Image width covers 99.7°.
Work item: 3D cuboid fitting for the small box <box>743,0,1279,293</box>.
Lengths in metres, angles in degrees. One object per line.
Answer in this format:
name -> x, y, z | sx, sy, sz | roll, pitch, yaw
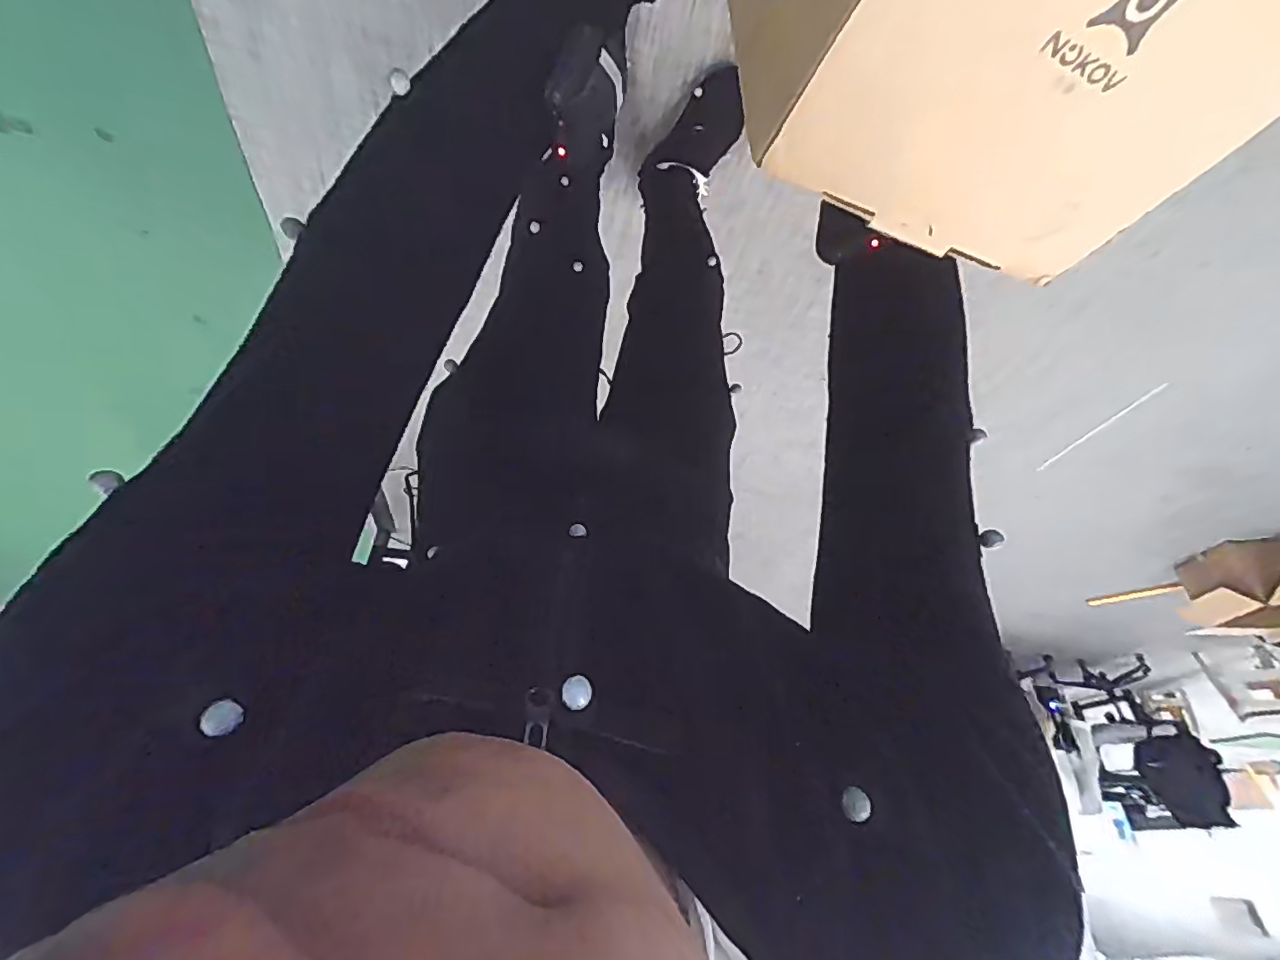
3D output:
small box -> 0.151, -0.212, 0.201 | 0.168, 0.176, 0.179 | 11, 151, -20
